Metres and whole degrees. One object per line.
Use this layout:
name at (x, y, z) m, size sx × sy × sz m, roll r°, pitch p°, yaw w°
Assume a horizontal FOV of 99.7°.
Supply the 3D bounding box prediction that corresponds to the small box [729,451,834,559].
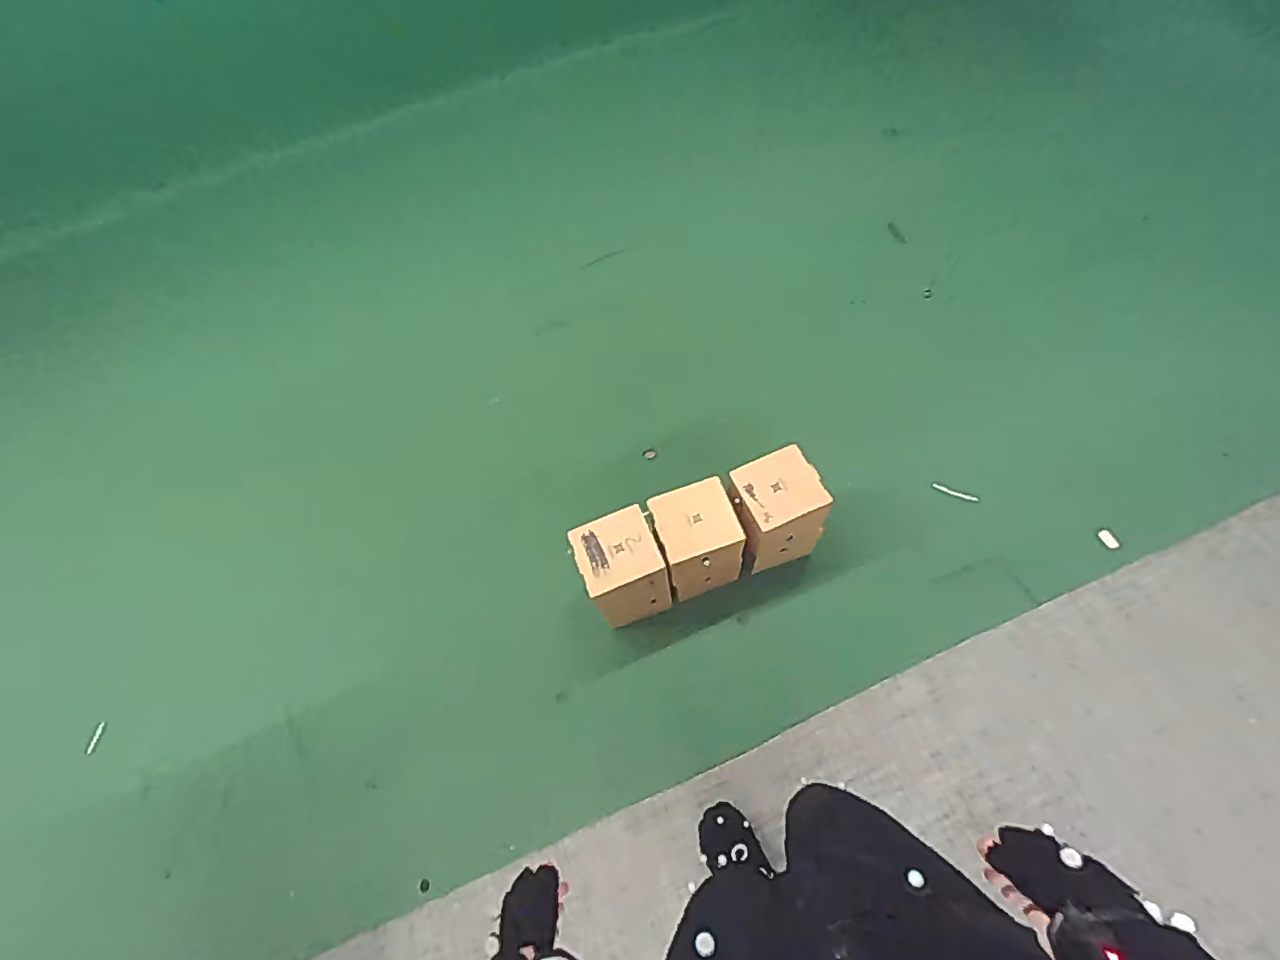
small box at (0.324, 0.064, 1.279) m, size 0.179 × 0.176 × 0.168 m, roll -22°, pitch 62°, yaw -7°
